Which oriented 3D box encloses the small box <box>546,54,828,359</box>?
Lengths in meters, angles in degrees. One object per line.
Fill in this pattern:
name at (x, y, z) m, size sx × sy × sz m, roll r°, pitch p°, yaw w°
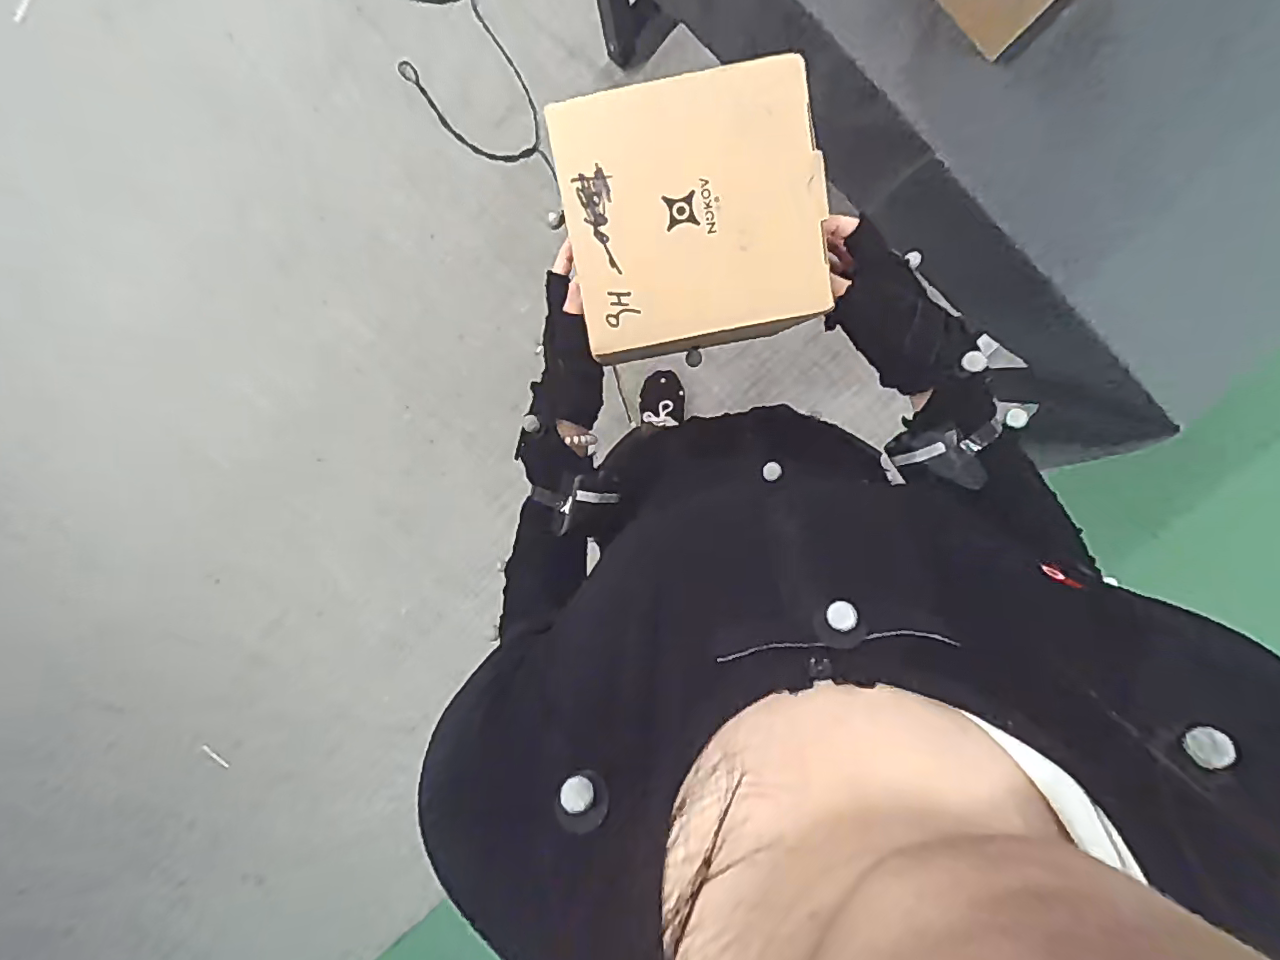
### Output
small box at (0.032, -0.200, 0.448) m, size 0.179 × 0.176 × 0.168 m, roll -11°, pitch 98°, yaw 0°
